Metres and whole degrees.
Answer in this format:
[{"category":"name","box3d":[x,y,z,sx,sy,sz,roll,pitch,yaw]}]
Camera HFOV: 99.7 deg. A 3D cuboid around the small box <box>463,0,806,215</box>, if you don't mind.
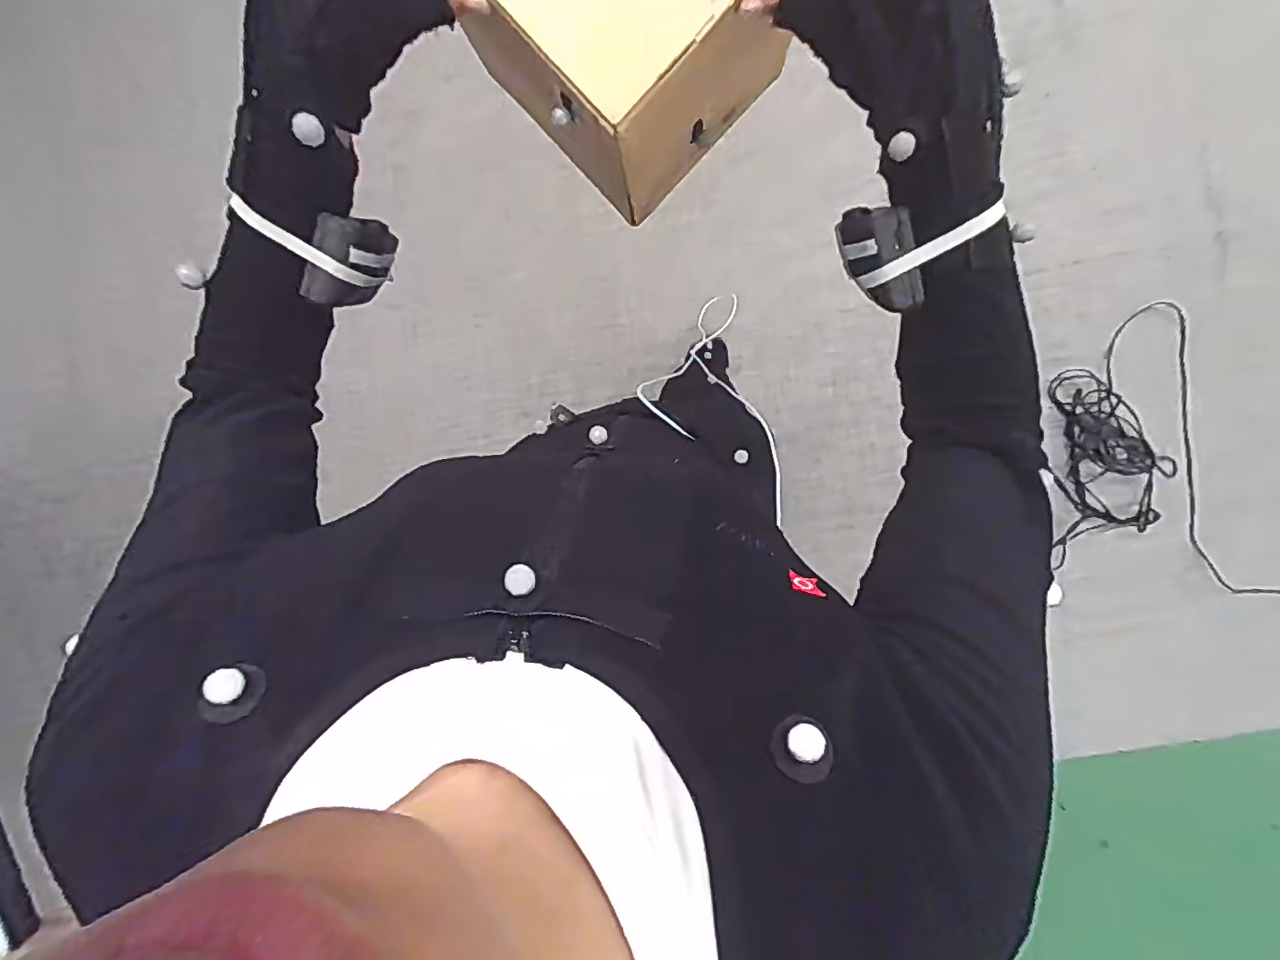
[{"category":"small box","box3d":[-0.008,-0.319,0.362,0.168,0.176,0.179,-44,95,8]}]
